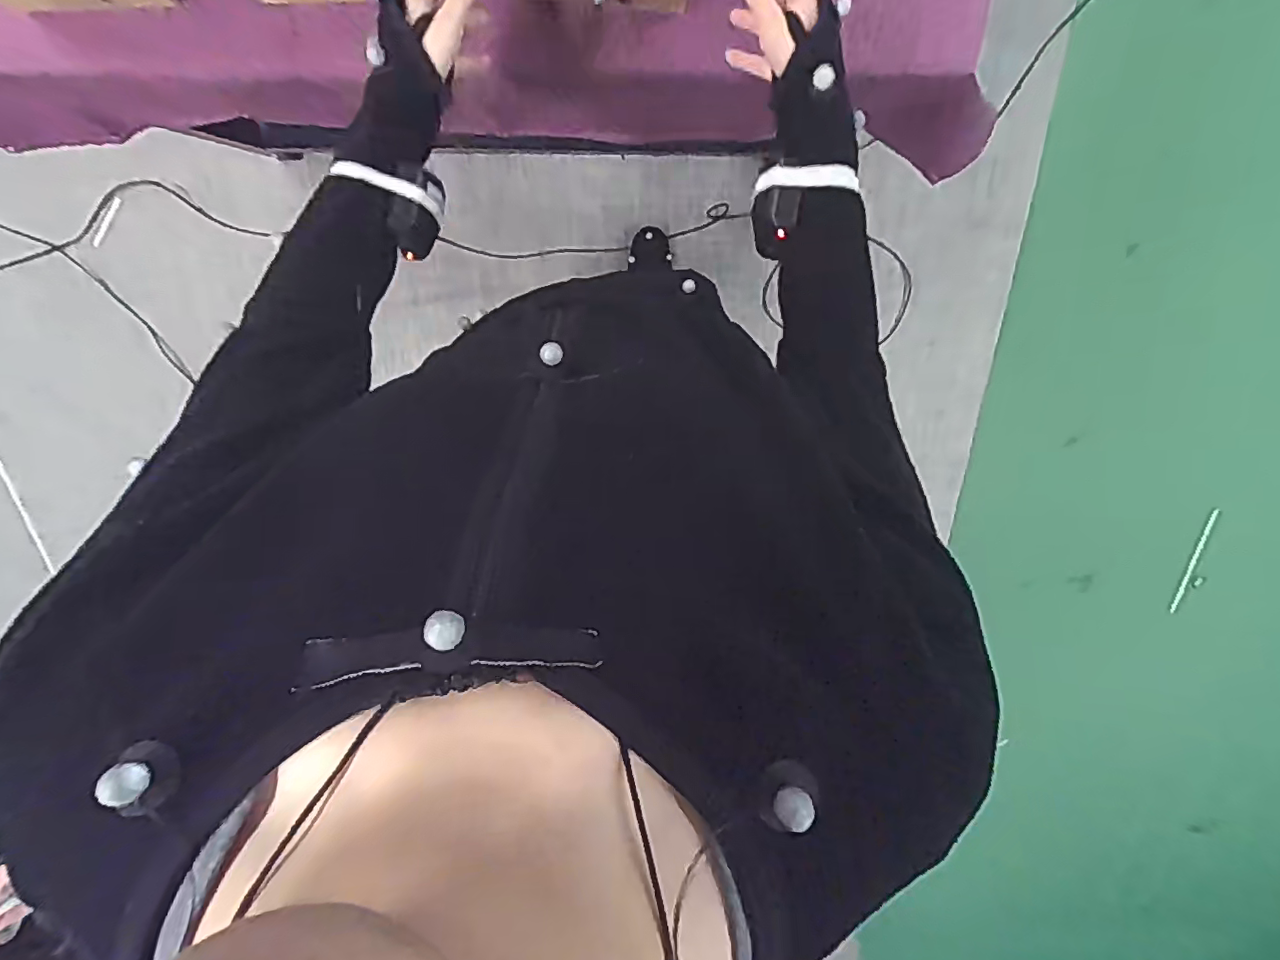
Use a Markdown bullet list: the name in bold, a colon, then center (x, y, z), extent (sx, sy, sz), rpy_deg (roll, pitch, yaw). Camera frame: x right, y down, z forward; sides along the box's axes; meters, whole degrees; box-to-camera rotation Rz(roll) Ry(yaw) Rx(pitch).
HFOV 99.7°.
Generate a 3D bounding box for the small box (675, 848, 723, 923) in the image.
- **small box**: center (0.218, 1.536, 2.054), extent (0.168, 0.176, 0.179), rpy_deg (-1, 112, 1)
